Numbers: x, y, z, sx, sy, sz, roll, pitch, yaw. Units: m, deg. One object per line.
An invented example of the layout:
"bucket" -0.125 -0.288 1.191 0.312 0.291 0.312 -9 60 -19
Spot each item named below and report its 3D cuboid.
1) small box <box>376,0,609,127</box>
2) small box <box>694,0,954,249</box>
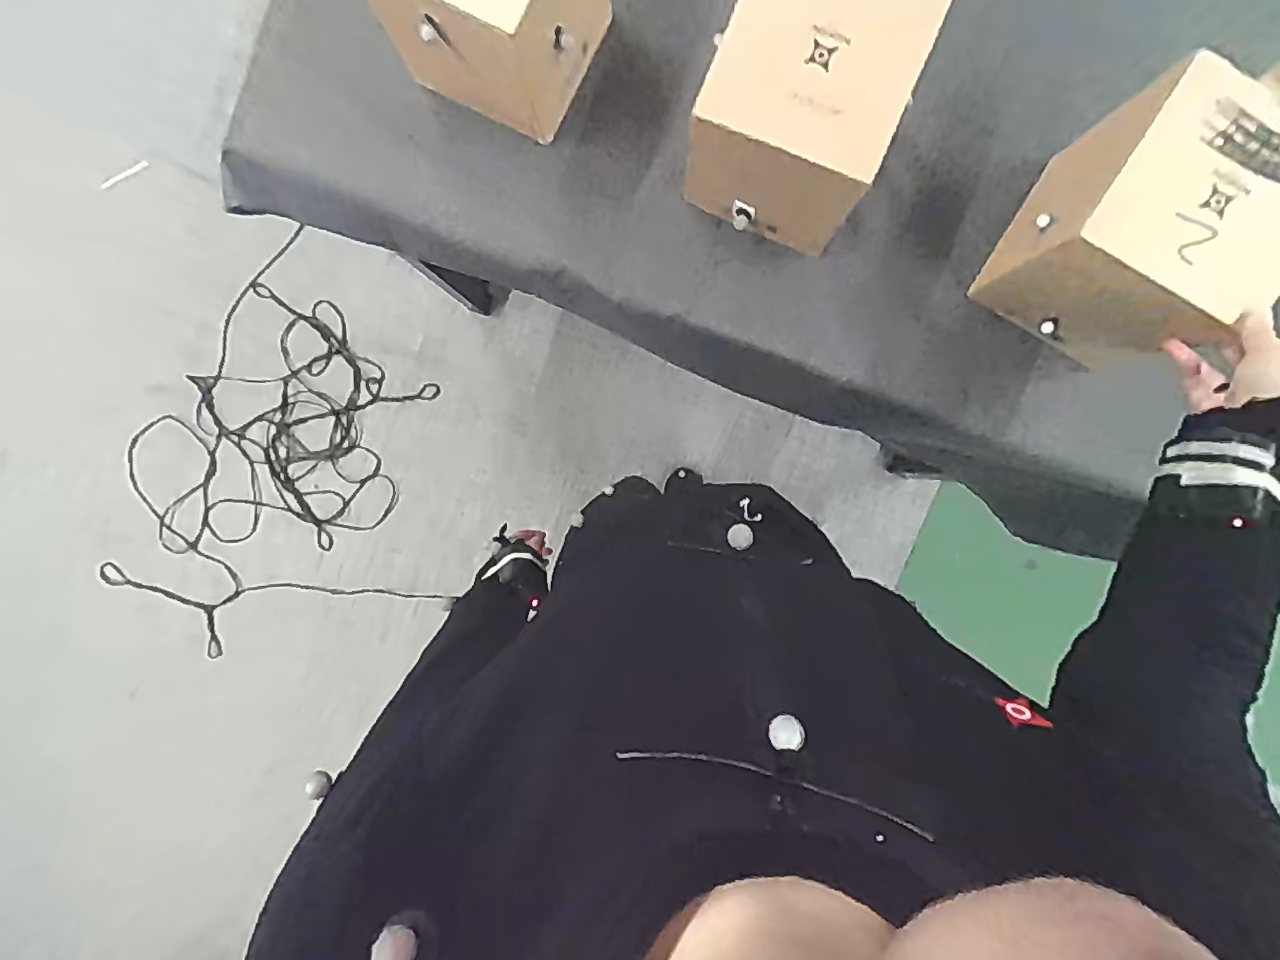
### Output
"small box" -0.142 -0.494 0.532 0.179 0.176 0.168 27 92 1
"small box" 0.158 -0.364 0.529 0.168 0.176 0.179 22 93 2
